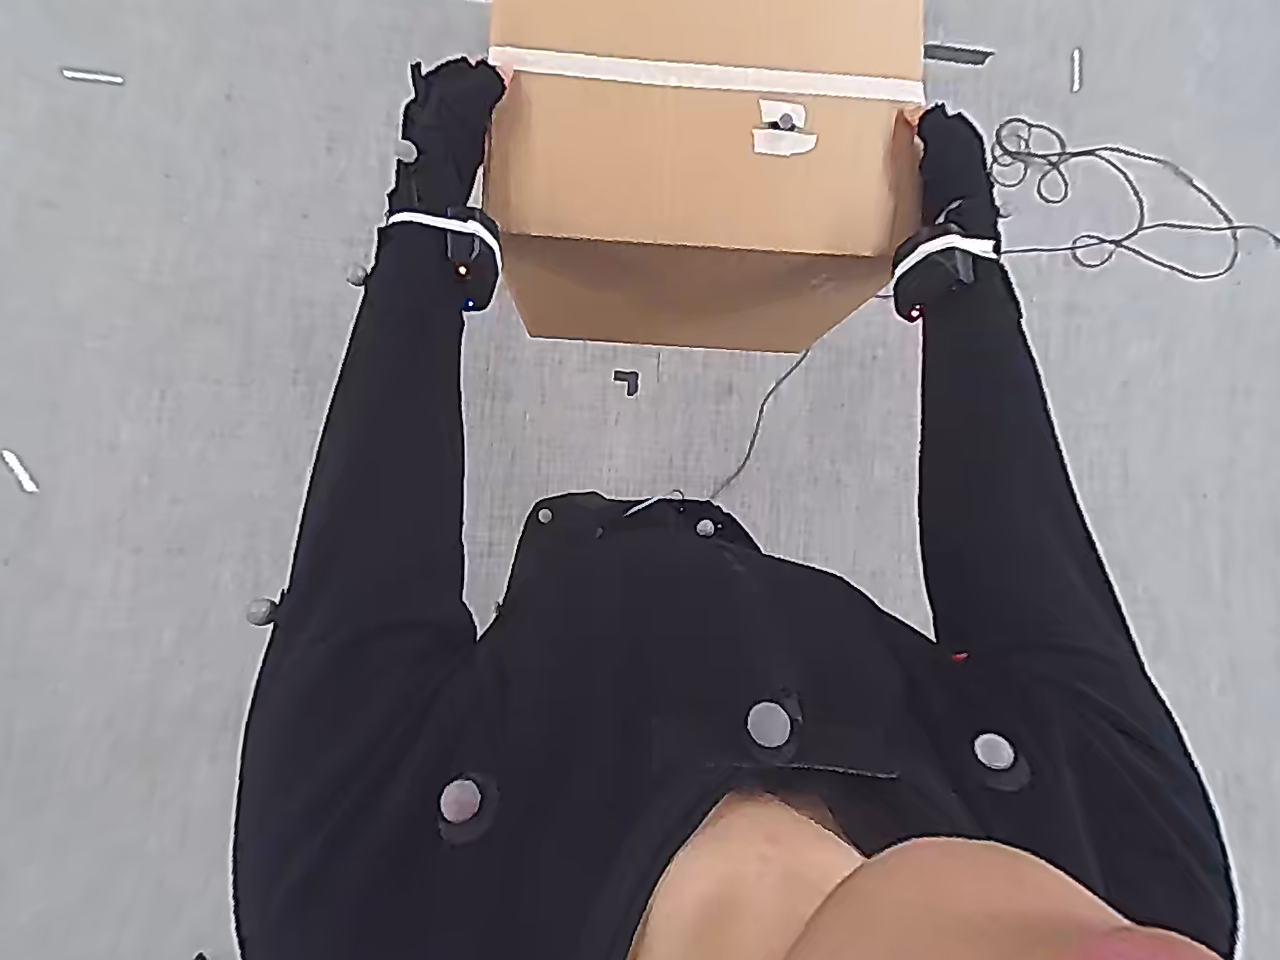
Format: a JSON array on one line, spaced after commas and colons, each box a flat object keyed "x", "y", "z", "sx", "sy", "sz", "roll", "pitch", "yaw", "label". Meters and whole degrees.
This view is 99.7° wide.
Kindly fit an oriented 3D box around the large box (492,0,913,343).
[{"x": 0.052, "y": -0.368, "z": 0.658, "sx": 0.408, "sy": 0.320, "sz": 0.320, "roll": 2, "pitch": 88, "yaw": -5, "label": "large box"}]
